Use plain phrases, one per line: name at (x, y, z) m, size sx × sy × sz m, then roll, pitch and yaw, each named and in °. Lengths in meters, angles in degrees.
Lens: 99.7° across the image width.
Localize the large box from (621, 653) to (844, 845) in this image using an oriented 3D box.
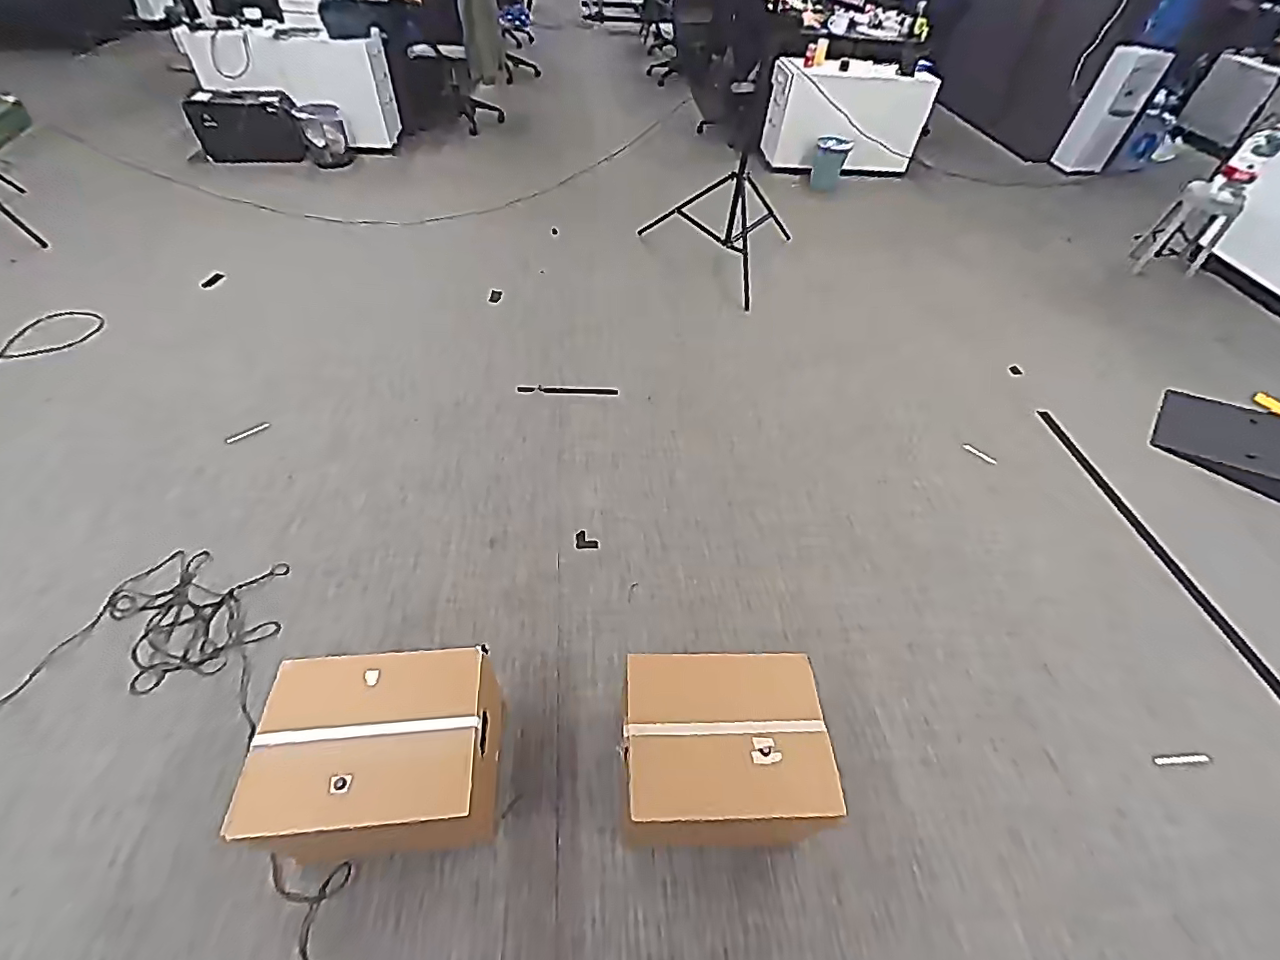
large box at (0.168, 0.598, 1.202) m, size 0.408 × 0.320 × 0.320 m, roll 2°, pitch 49°, yaw -5°
